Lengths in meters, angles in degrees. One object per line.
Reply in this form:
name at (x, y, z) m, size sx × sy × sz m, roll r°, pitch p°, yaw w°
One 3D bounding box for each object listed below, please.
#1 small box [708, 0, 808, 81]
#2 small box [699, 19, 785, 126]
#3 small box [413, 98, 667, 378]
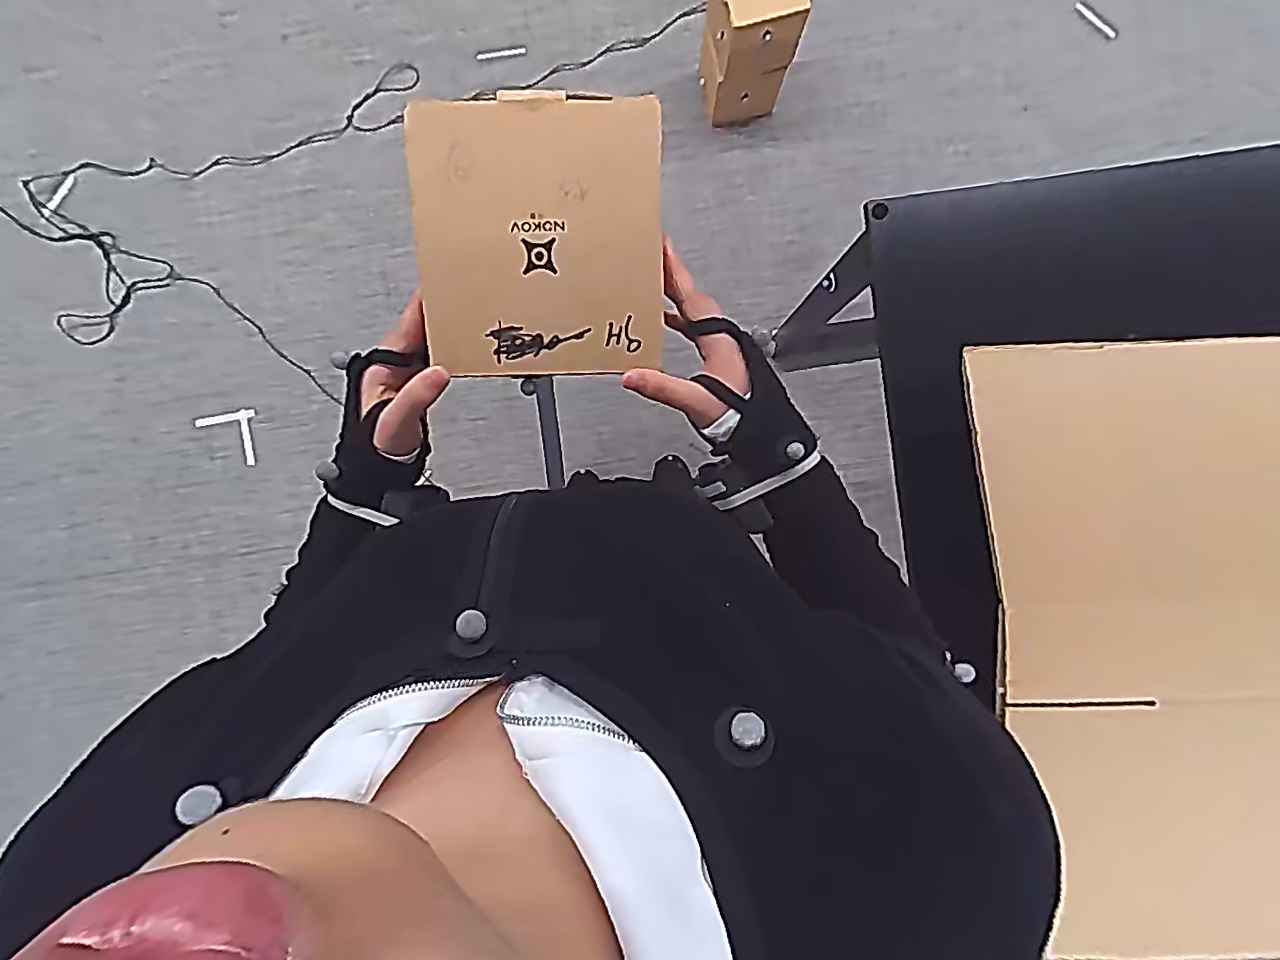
small box at (0.260, -1.062, 1.238) m, size 0.179 × 0.176 × 0.168 m, roll -14°, pitch 91°, yaw 0°
small box at (0.258, -1.061, 1.400) m, size 0.179 × 0.176 × 0.168 m, roll -11°, pitch 90°, yaw 2°
small box at (-0.065, -0.174, 0.440) m, size 0.168 × 0.176 × 0.179 m, roll -1°, pitch 102°, yaw 0°
